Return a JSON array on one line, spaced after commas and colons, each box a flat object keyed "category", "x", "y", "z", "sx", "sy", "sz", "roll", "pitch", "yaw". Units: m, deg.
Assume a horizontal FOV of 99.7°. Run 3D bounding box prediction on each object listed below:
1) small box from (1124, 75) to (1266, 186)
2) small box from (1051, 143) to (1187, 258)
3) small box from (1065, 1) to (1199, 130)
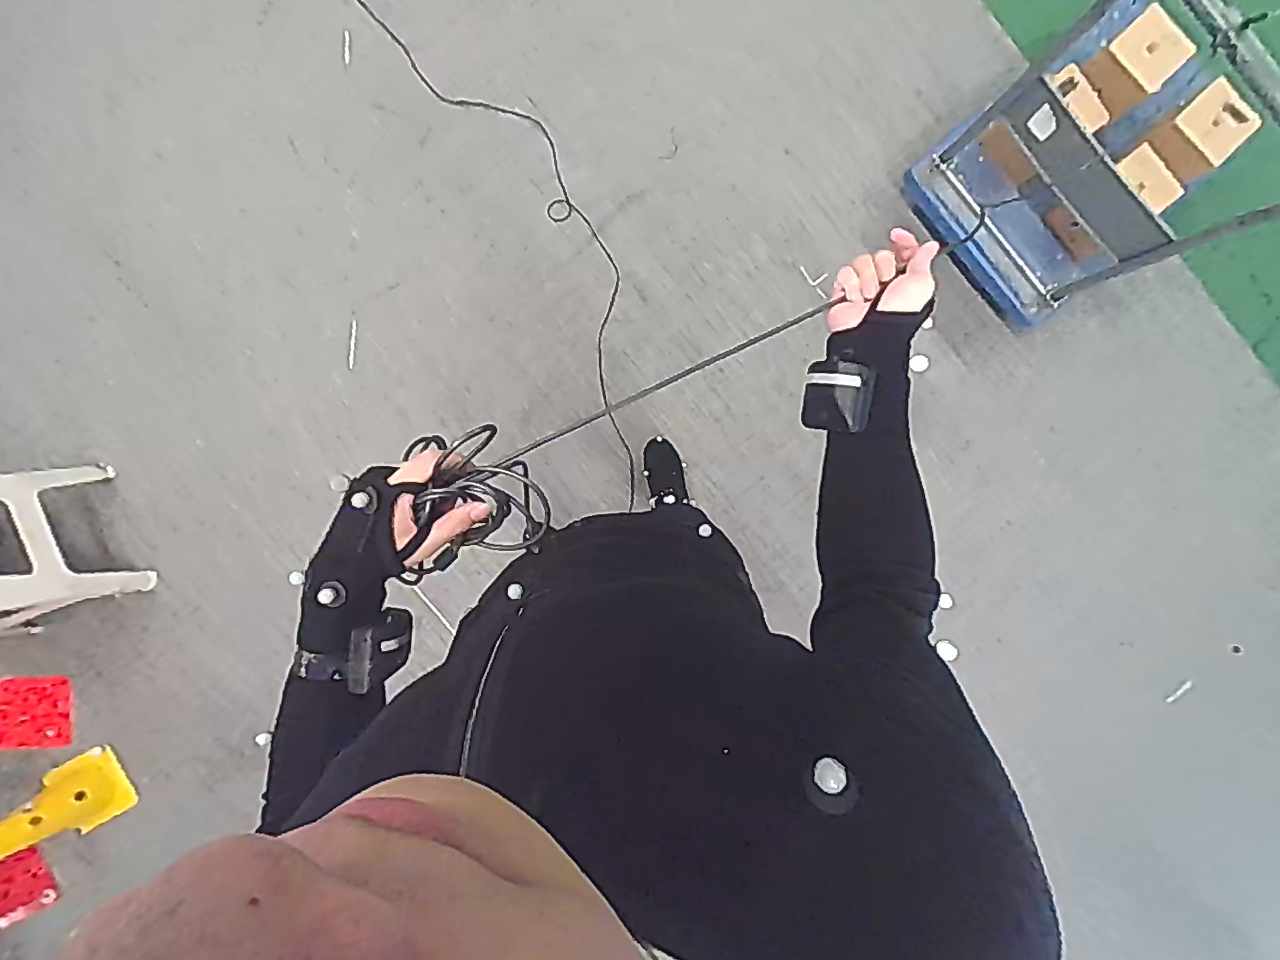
[{"category": "small box", "x": 1.462, "y": -0.905, "z": 1.439, "sx": 0.179, "sy": 0.176, "sz": 0.168, "roll": -44, "pitch": 90, "yaw": -1}, {"category": "small box", "x": 1.255, "y": -0.731, "z": 1.431, "sx": 0.179, "sy": 0.176, "sz": 0.168, "roll": -39, "pitch": 91, "yaw": -1}, {"category": "small box", "x": 1.287, "y": -1.085, "z": 1.434, "sx": 0.179, "sy": 0.176, "sz": 0.168, "roll": -44, "pitch": 92, "yaw": -2}]
